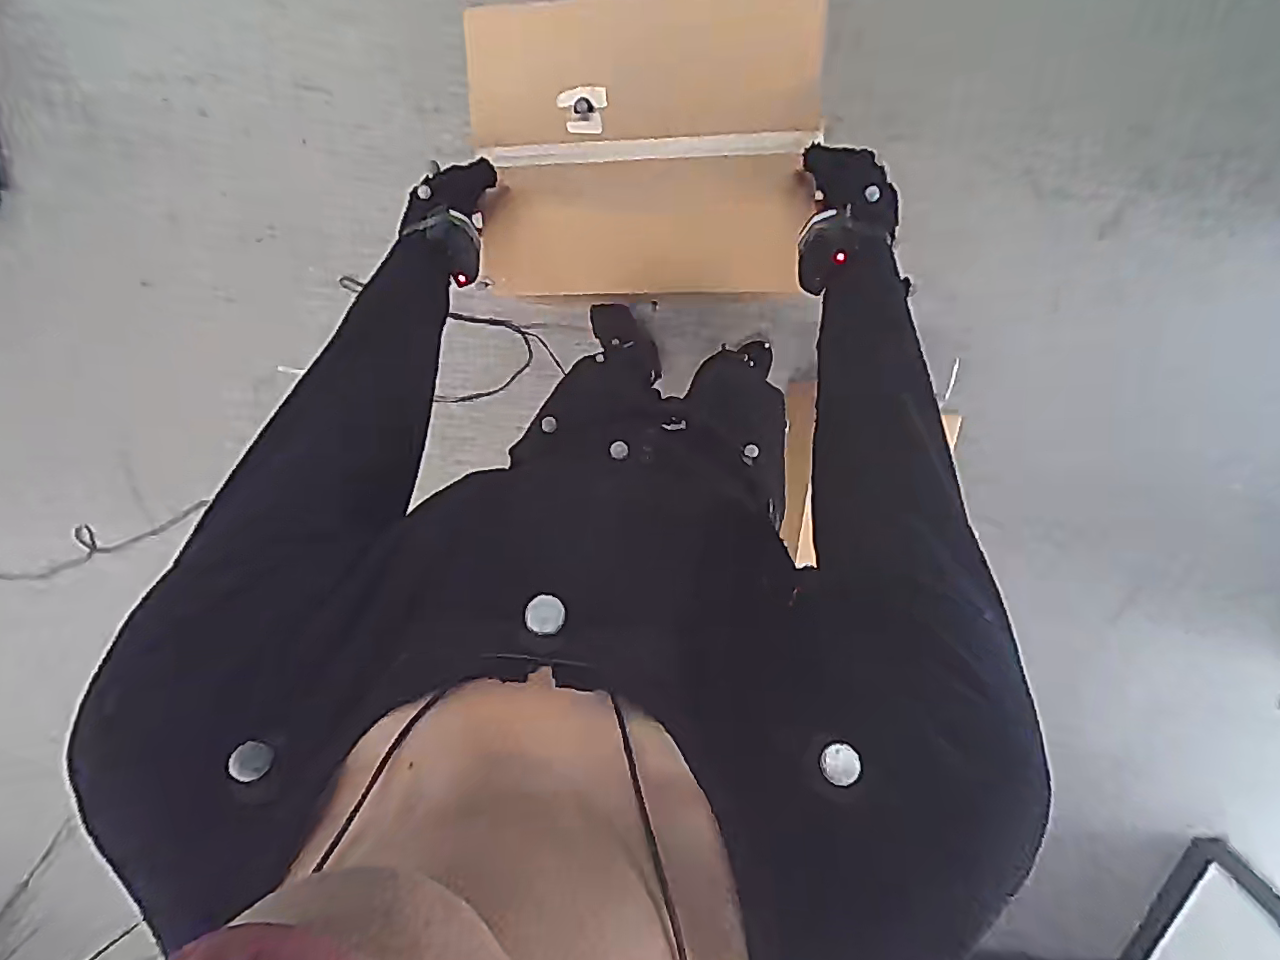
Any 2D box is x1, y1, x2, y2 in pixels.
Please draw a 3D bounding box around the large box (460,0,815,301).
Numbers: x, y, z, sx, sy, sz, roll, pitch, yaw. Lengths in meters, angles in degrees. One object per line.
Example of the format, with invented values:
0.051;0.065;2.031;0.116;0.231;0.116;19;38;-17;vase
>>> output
0.015;-0.426;0.771;0.408;0.320;0.320;1;106;8;large box
